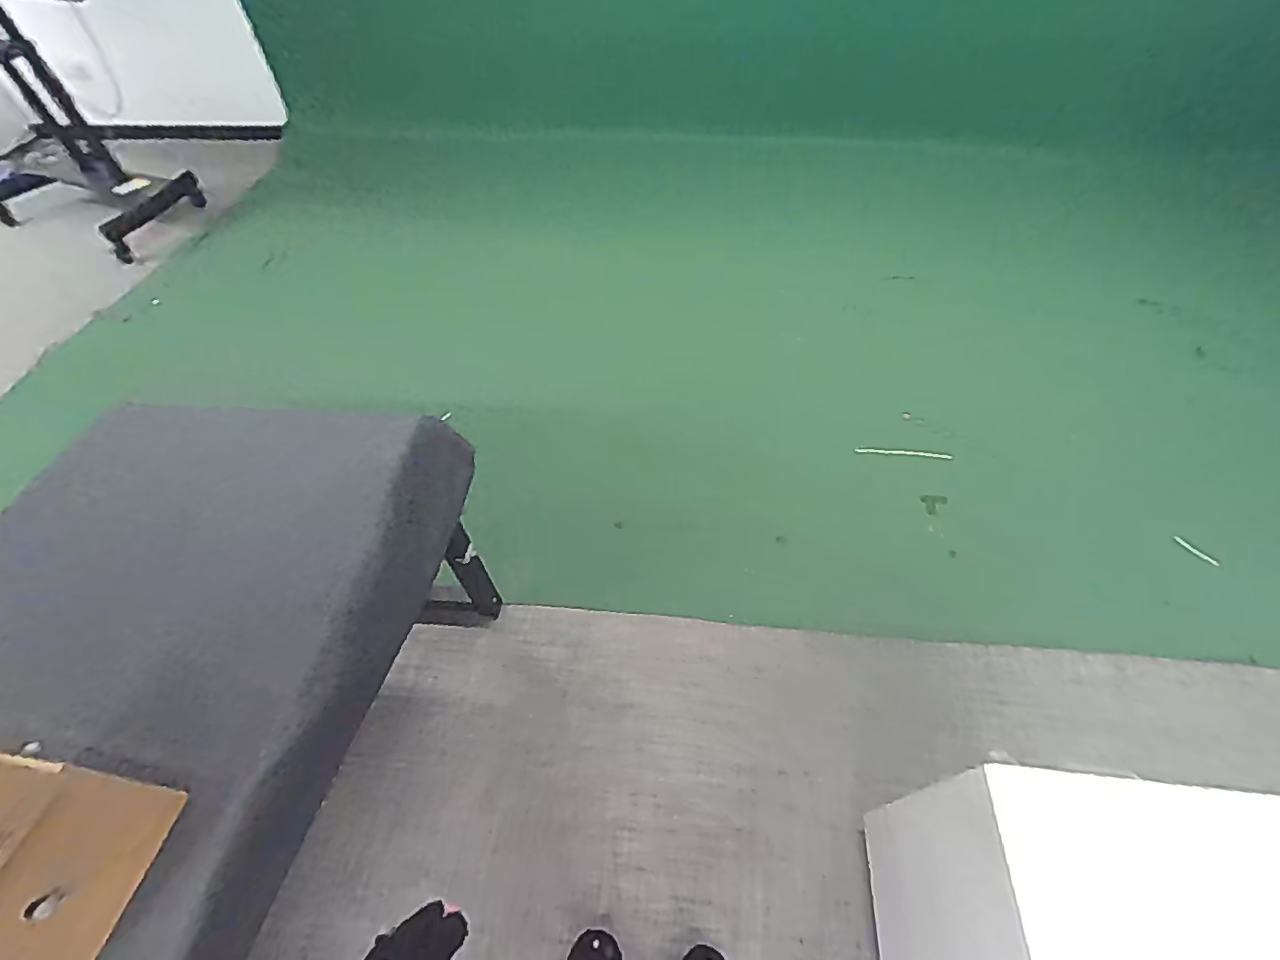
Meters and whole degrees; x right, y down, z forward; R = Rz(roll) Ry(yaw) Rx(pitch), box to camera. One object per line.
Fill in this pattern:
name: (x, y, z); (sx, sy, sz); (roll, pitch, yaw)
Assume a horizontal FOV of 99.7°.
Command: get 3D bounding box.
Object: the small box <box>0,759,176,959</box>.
small box: (-0.604, 0.364, 0.506); (0.168, 0.176, 0.179); (5, 53, 7)
